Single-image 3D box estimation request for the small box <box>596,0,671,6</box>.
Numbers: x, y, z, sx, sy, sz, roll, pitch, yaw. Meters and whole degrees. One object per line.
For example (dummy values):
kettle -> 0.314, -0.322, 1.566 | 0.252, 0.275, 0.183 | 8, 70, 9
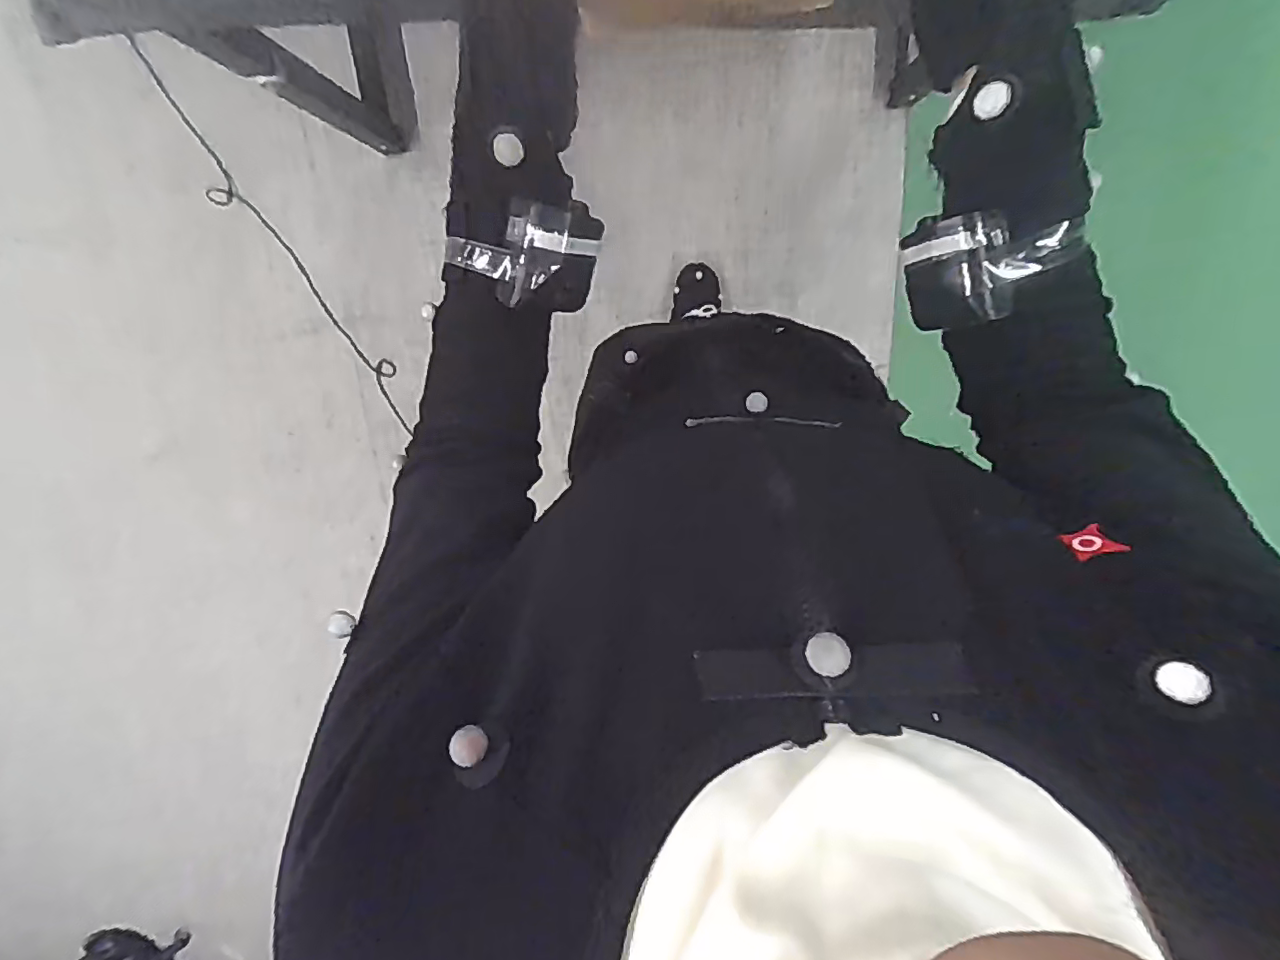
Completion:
small box -> 0.038, -0.396, 0.288 | 0.179, 0.176, 0.168 | -3, 108, 4
